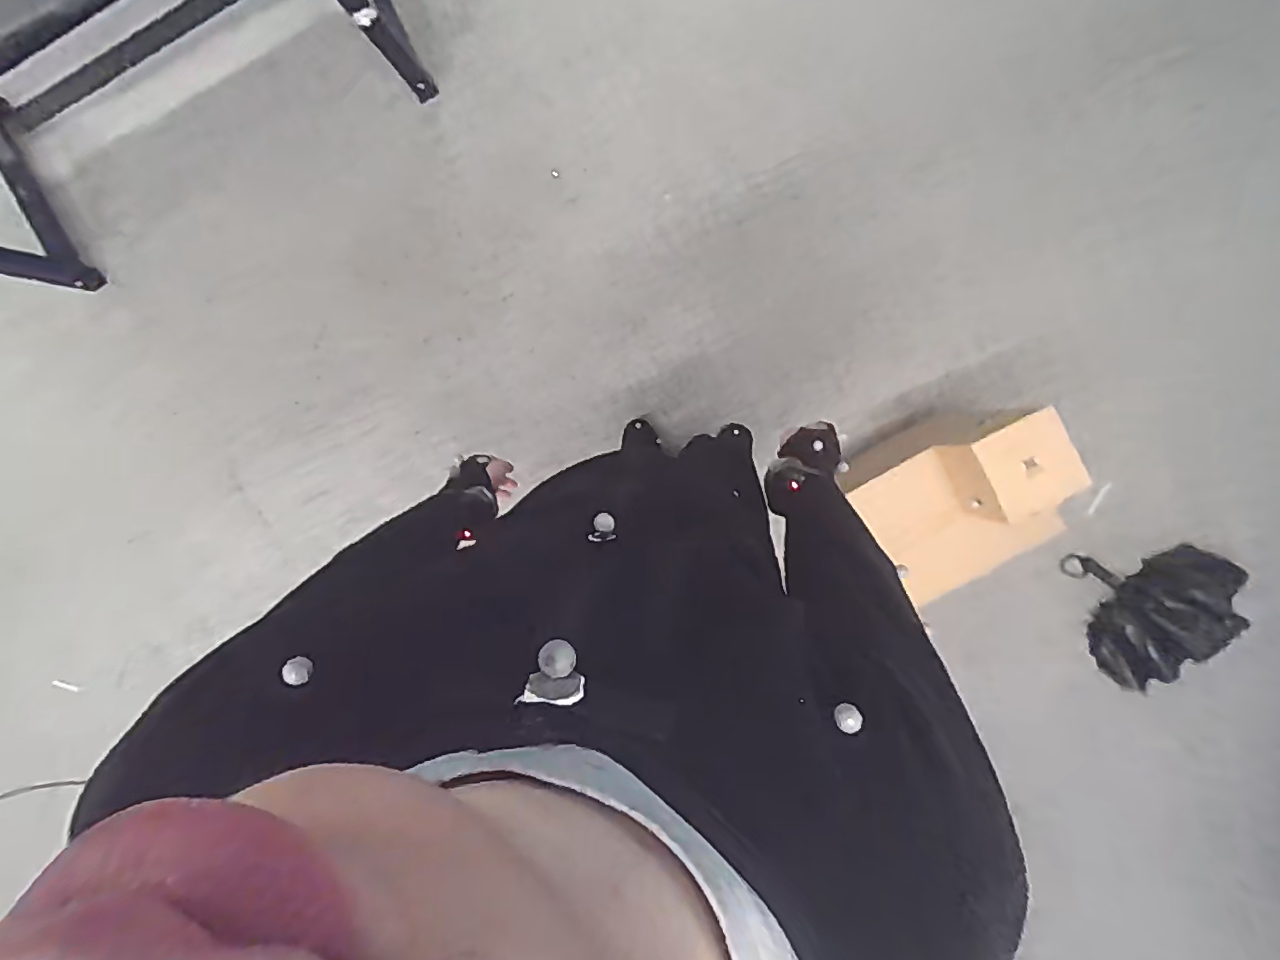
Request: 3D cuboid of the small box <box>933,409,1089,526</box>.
[{"bbox_3d":[0.742,-0.029,1.100,0.168,0.176,0.179,-28,90,6],"label":"small box"}]
